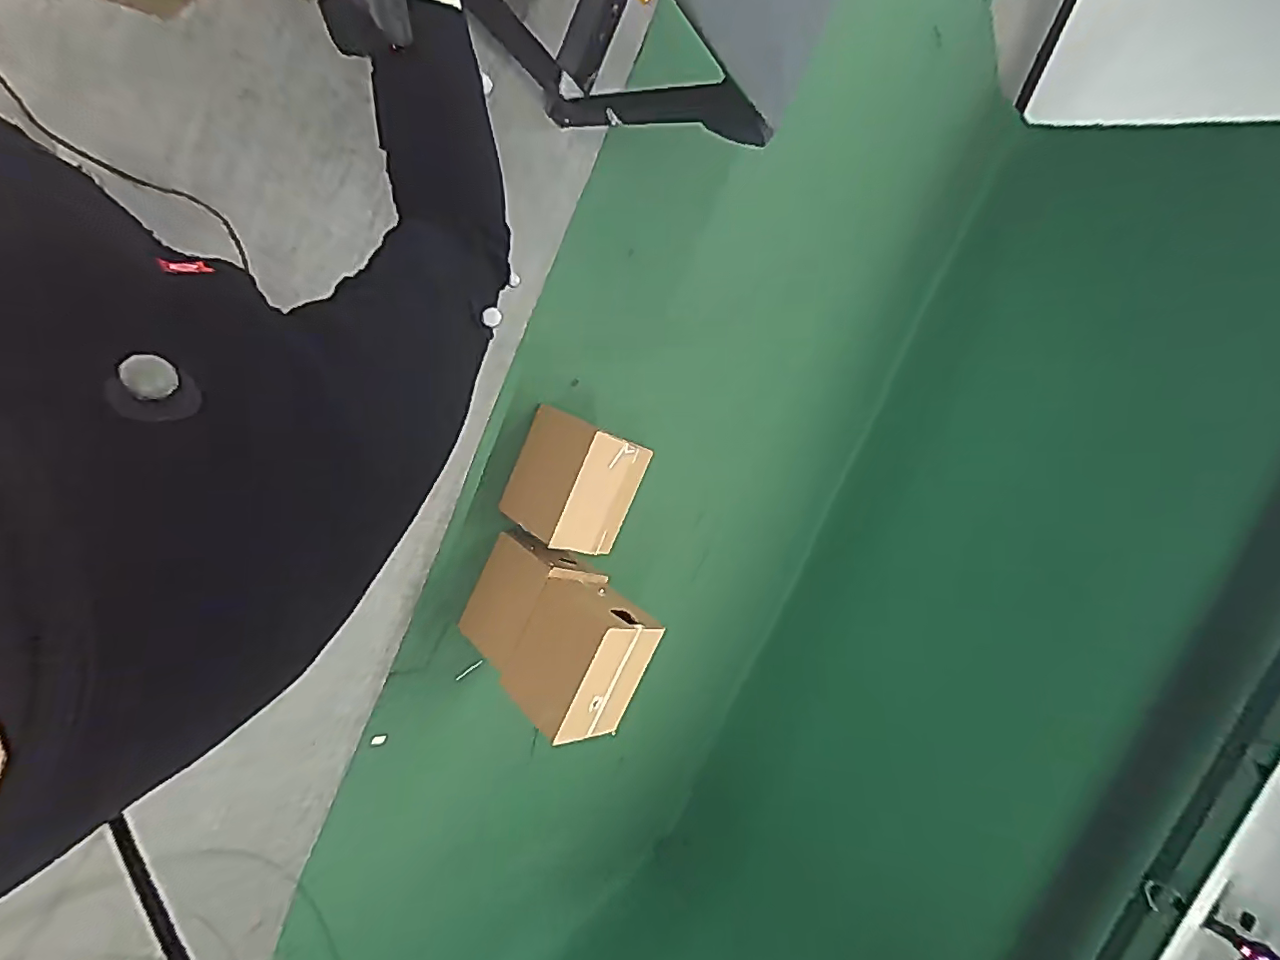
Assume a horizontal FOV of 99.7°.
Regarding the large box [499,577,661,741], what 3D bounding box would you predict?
[{"bbox_3d":[-0.201,0.577,1.805,0.320,0.320,0.408,21,97,-51],"label":"large box"}]
